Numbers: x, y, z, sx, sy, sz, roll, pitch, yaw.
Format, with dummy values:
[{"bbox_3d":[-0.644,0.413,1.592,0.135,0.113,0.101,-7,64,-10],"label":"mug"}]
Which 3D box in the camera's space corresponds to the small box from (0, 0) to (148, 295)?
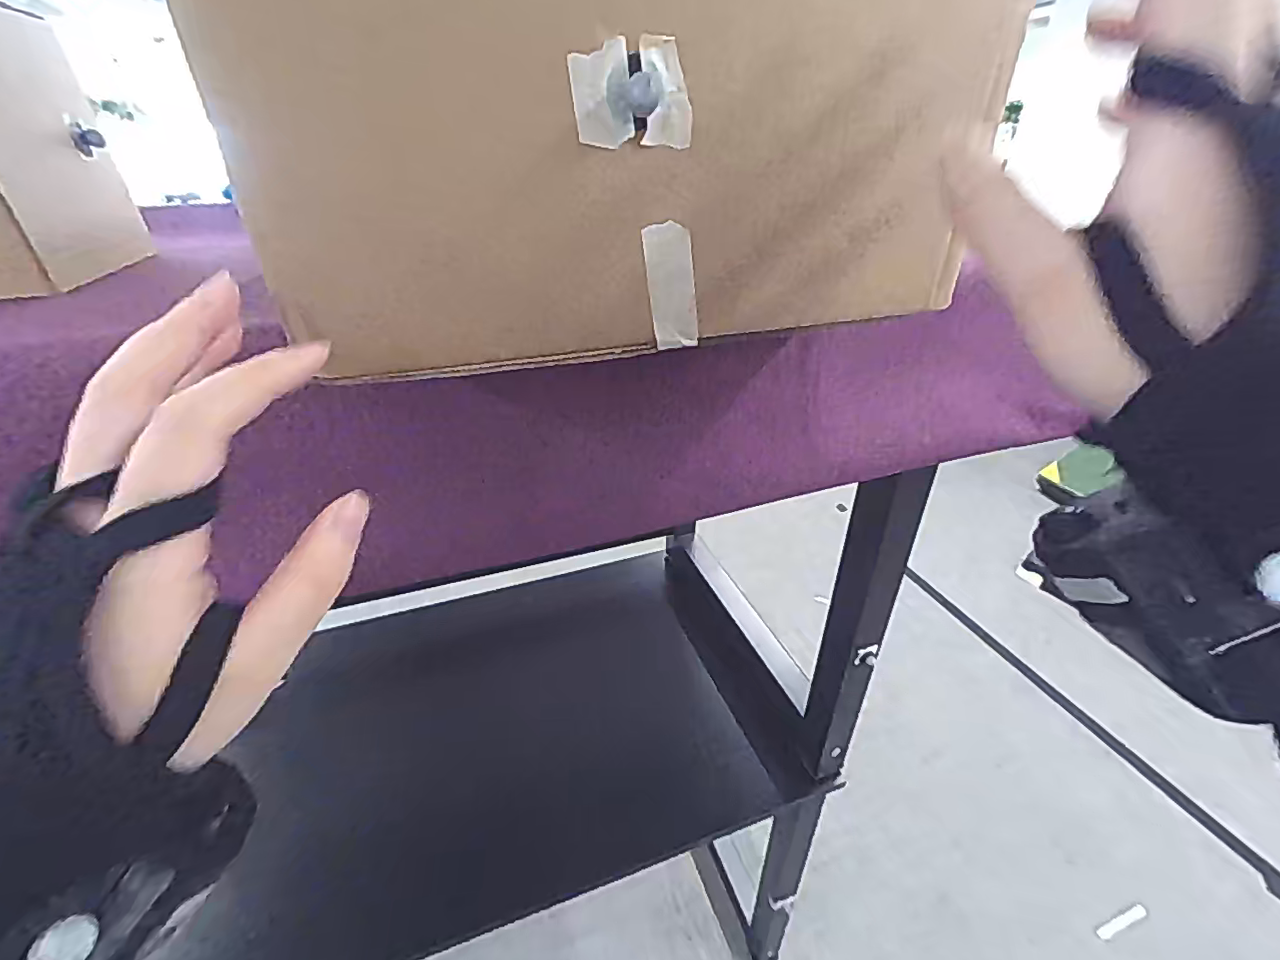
[{"bbox_3d":[-0.482,-0.223,0.357,0.168,0.176,0.179,-11,34,-16],"label":"small box"}]
